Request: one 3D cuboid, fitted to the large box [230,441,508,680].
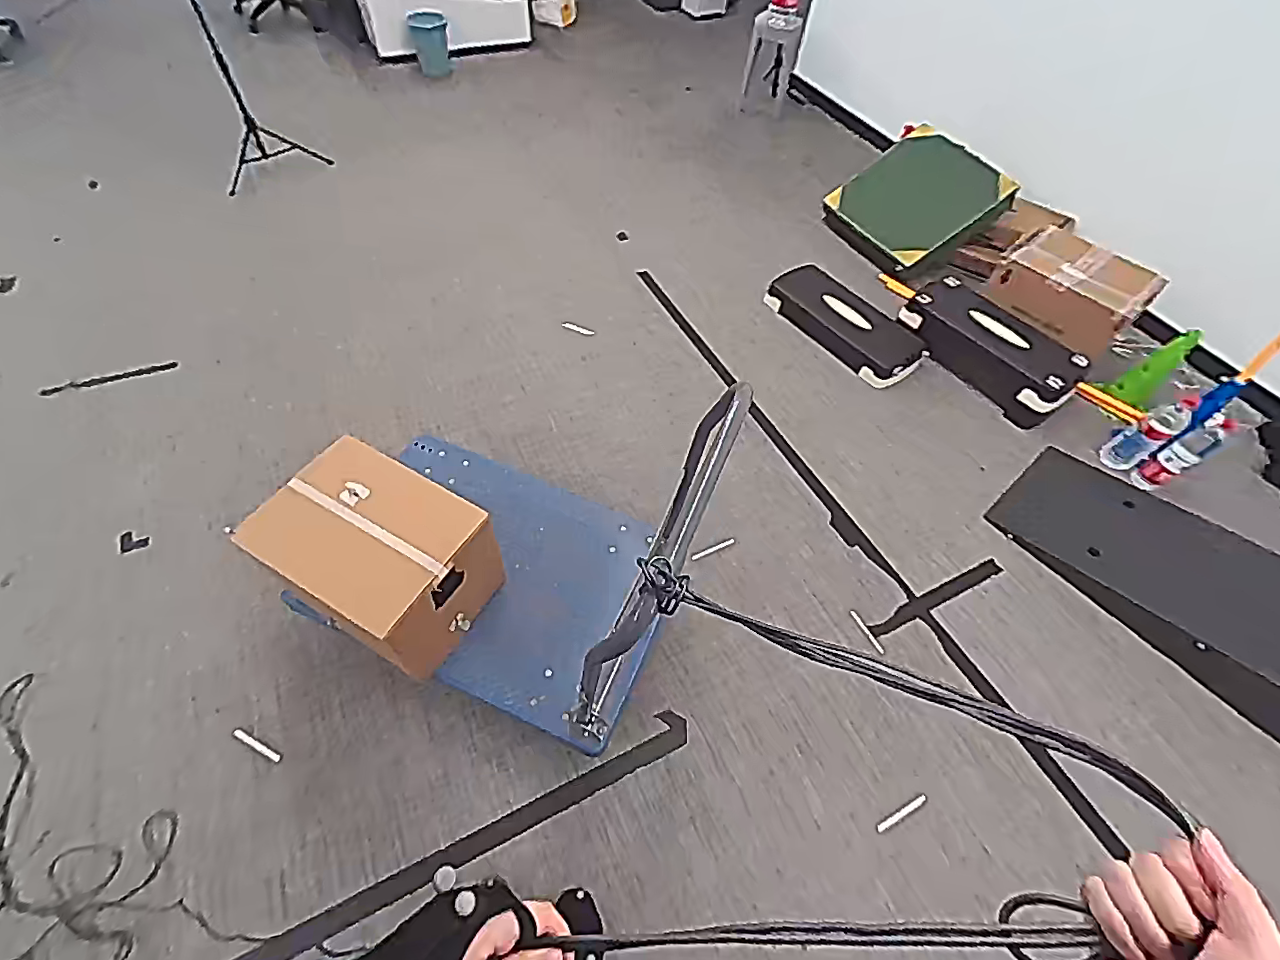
[{"bbox_3d":[-0.565,0.184,1.210,0.408,0.320,0.320,26,56,13],"label":"large box"}]
